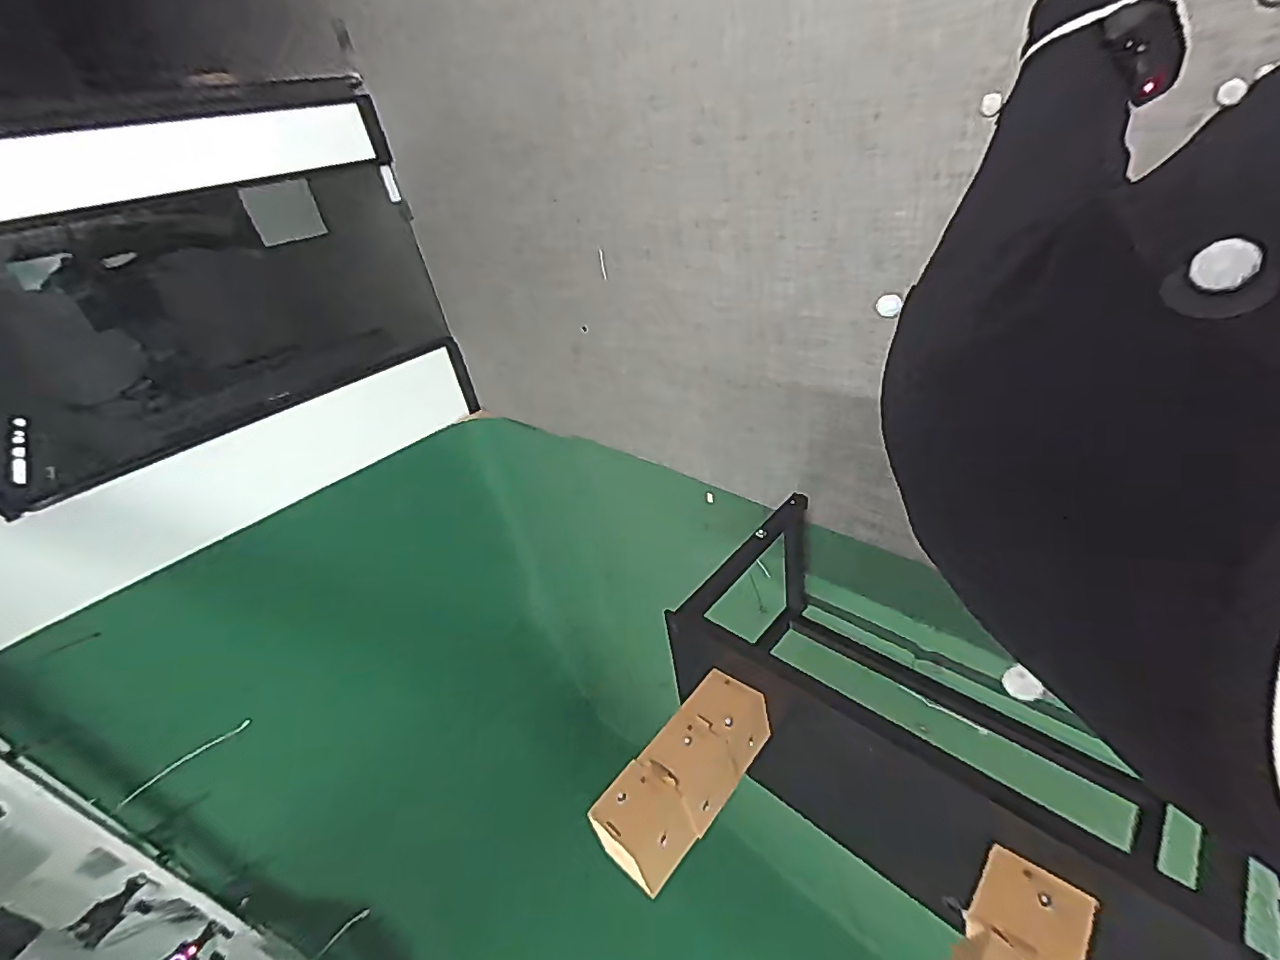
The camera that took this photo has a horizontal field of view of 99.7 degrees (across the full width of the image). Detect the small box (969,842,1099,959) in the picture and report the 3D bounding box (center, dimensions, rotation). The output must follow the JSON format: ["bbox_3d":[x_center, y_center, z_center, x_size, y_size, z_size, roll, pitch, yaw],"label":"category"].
[{"bbox_3d":[0.751,0.854,1.034,0.168,0.176,0.179,14,129,45],"label":"small box"}]

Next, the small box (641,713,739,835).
[{"bbox_3d":[0.135,0.740,1.376,0.168,0.176,0.179,13,130,43],"label":"small box"}]

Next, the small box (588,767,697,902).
[{"bbox_3d":[0.010,0.828,1.281,0.168,0.176,0.179,14,131,44],"label":"small box"}]

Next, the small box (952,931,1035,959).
[{"bbox_3d":[0.642,0.937,0.942,0.168,0.176,0.179,33,142,30],"label":"small box"}]
